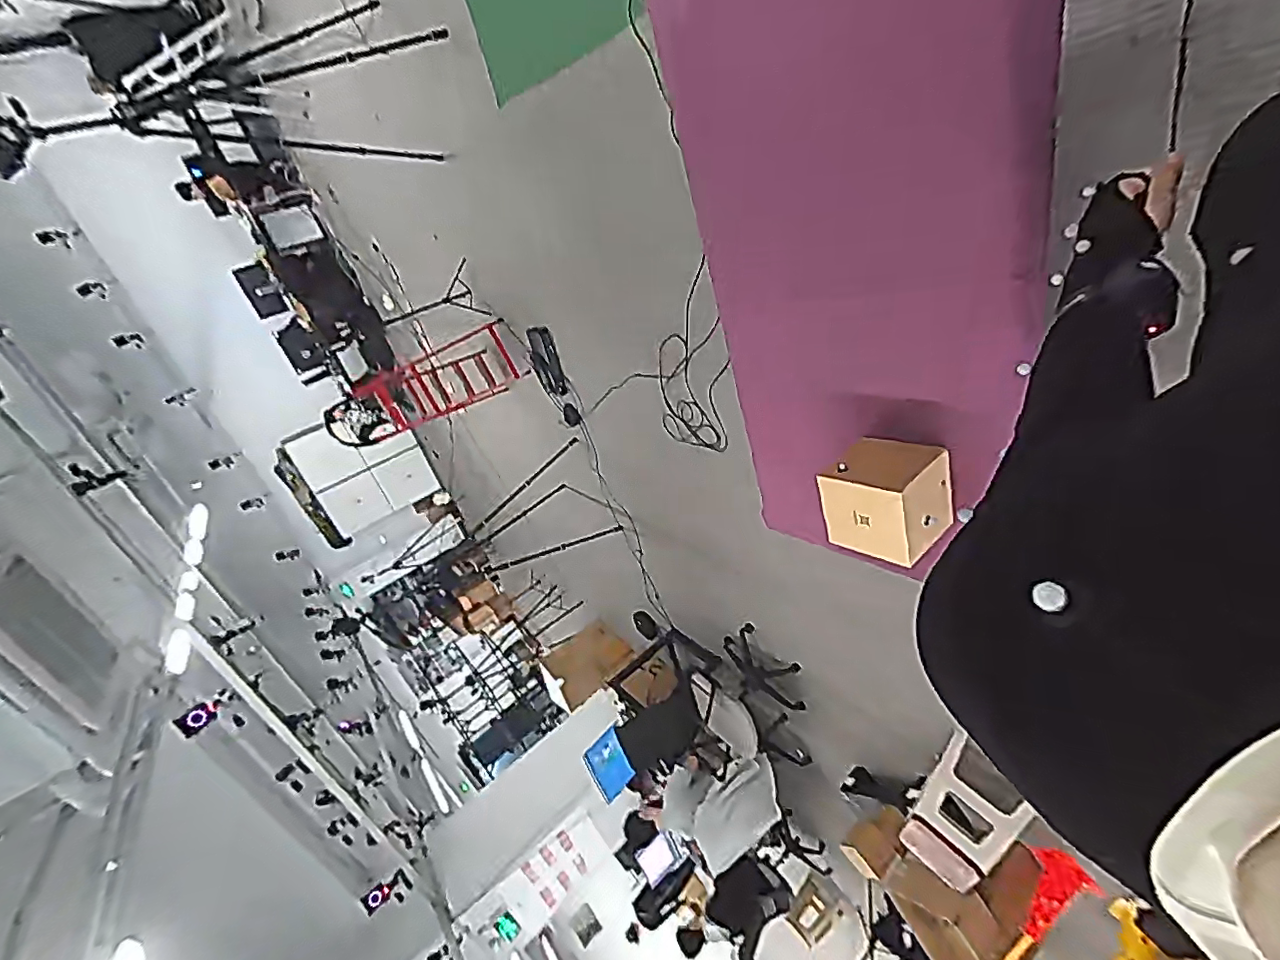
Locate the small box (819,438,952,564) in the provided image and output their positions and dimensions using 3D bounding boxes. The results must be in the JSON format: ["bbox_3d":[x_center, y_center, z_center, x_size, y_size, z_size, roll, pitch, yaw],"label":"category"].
[{"bbox_3d":[0.483,0.032,1.052,0.179,0.176,0.168,18,134,53],"label":"small box"}]
